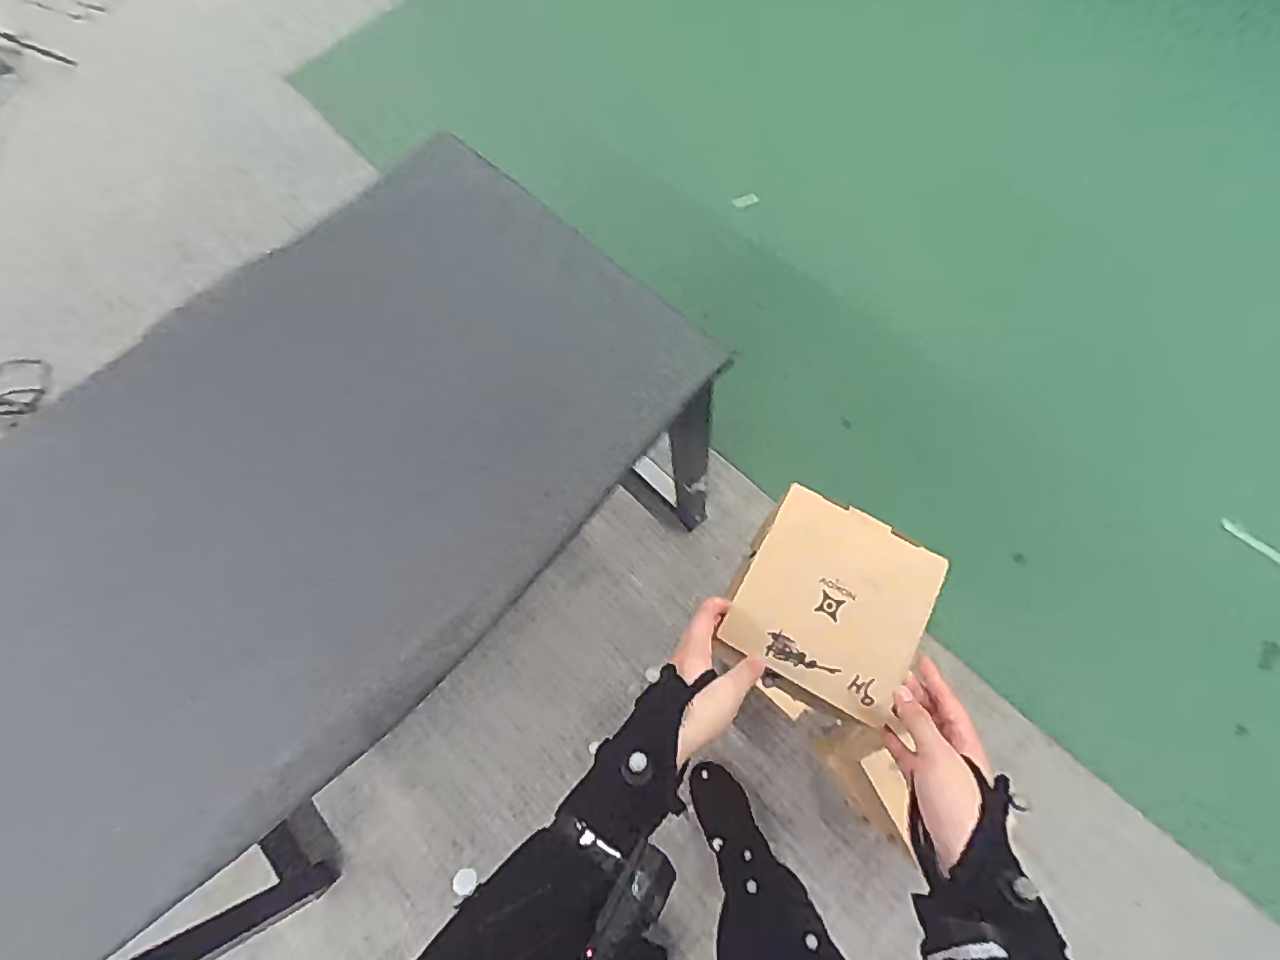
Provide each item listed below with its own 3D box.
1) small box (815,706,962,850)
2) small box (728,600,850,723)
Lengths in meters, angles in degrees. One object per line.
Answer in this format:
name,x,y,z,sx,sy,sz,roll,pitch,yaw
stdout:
small box,0.472,0.566,1.058,0.168,0.176,0.179,-35,71,-7
small box,0.304,0.379,1.143,0.179,0.176,0.168,42,79,18
